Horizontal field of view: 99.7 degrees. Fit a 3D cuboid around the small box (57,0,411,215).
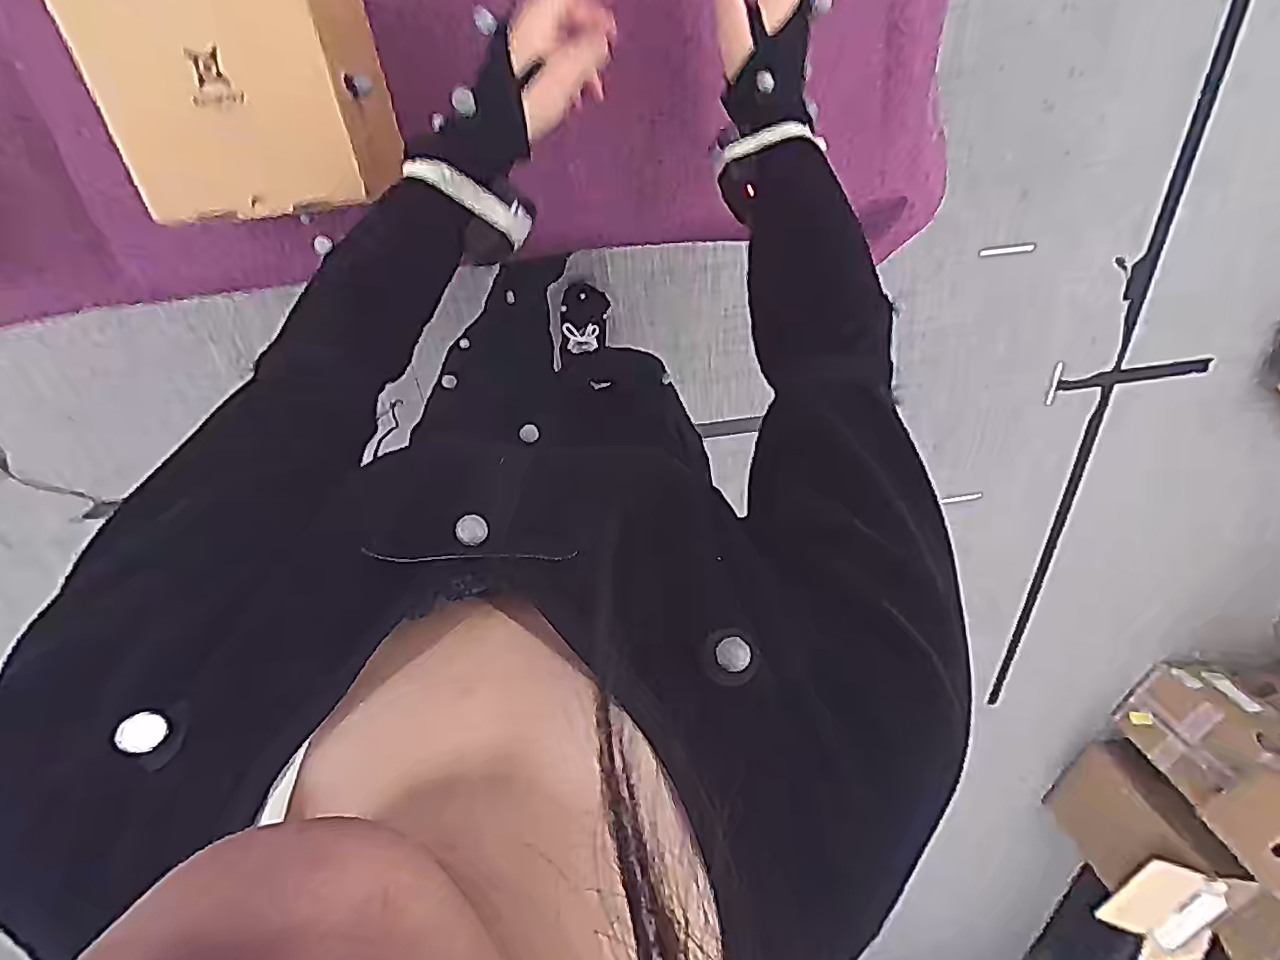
[{"bbox_3d":[-0.316,-0.332,0.459,0.168,0.176,0.179,-9,120,-4],"label":"small box"}]
